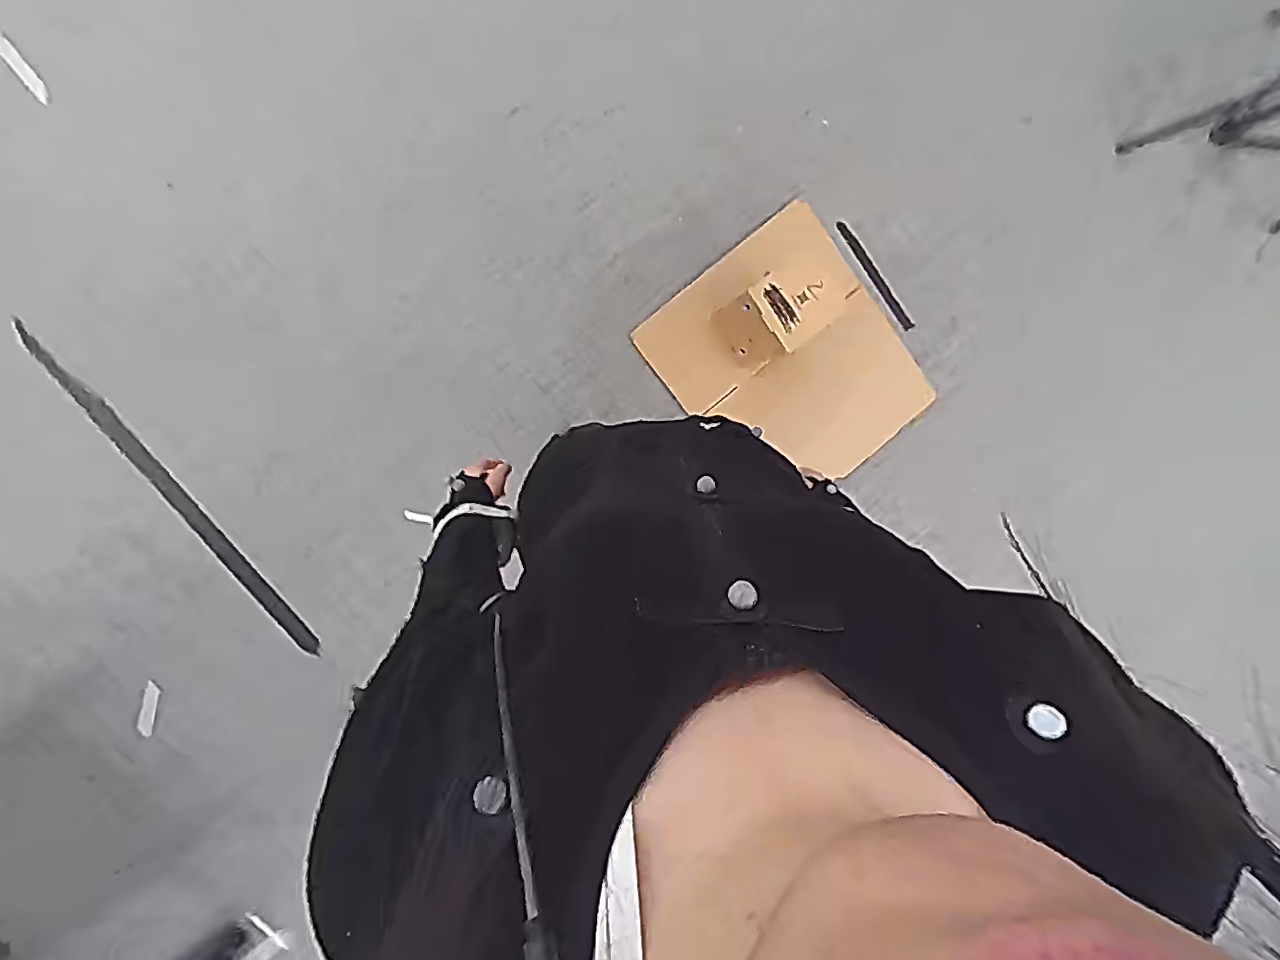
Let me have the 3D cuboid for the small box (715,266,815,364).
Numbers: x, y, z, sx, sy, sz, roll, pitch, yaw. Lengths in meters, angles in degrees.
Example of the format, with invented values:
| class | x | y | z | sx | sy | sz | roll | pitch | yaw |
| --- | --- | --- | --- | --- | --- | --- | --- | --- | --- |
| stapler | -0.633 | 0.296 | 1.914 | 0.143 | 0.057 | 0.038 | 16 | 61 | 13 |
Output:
| class | x | y | z | sx | sy | sz | roll | pitch | yaw |
| --- | --- | --- | --- | --- | --- | --- | --- | --- | --- |
| small box | 0.311 | -0.416 | 1.400 | 0.179 | 0.176 | 0.168 | -35 | 100 | -3 |
